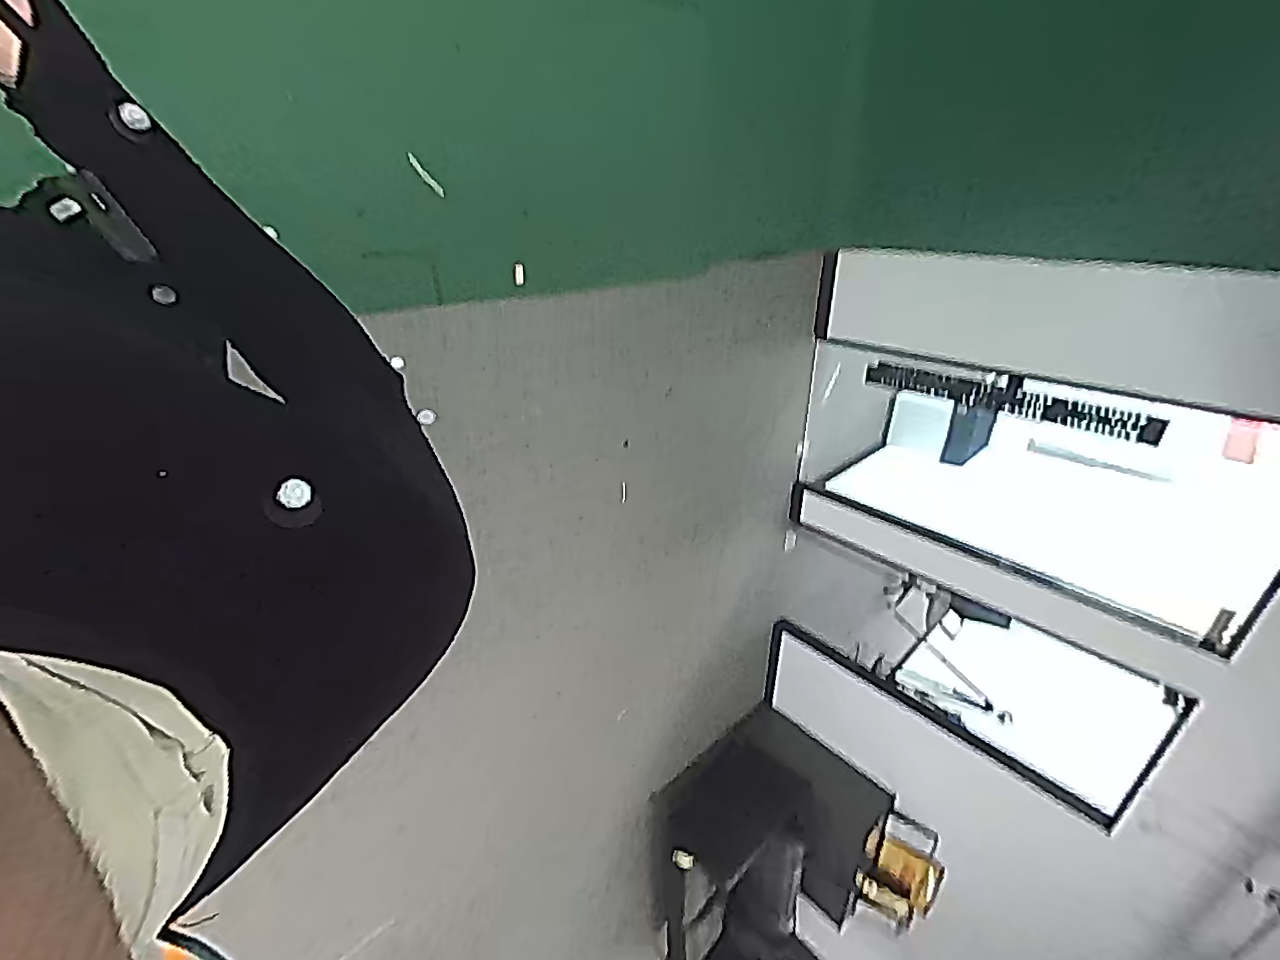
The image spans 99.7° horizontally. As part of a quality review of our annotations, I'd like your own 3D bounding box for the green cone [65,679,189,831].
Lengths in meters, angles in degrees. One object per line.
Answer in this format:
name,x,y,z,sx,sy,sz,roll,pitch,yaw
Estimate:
green cone,-1.240,0.700,1.322,0.202,0.368,0.200,-22,124,-36
